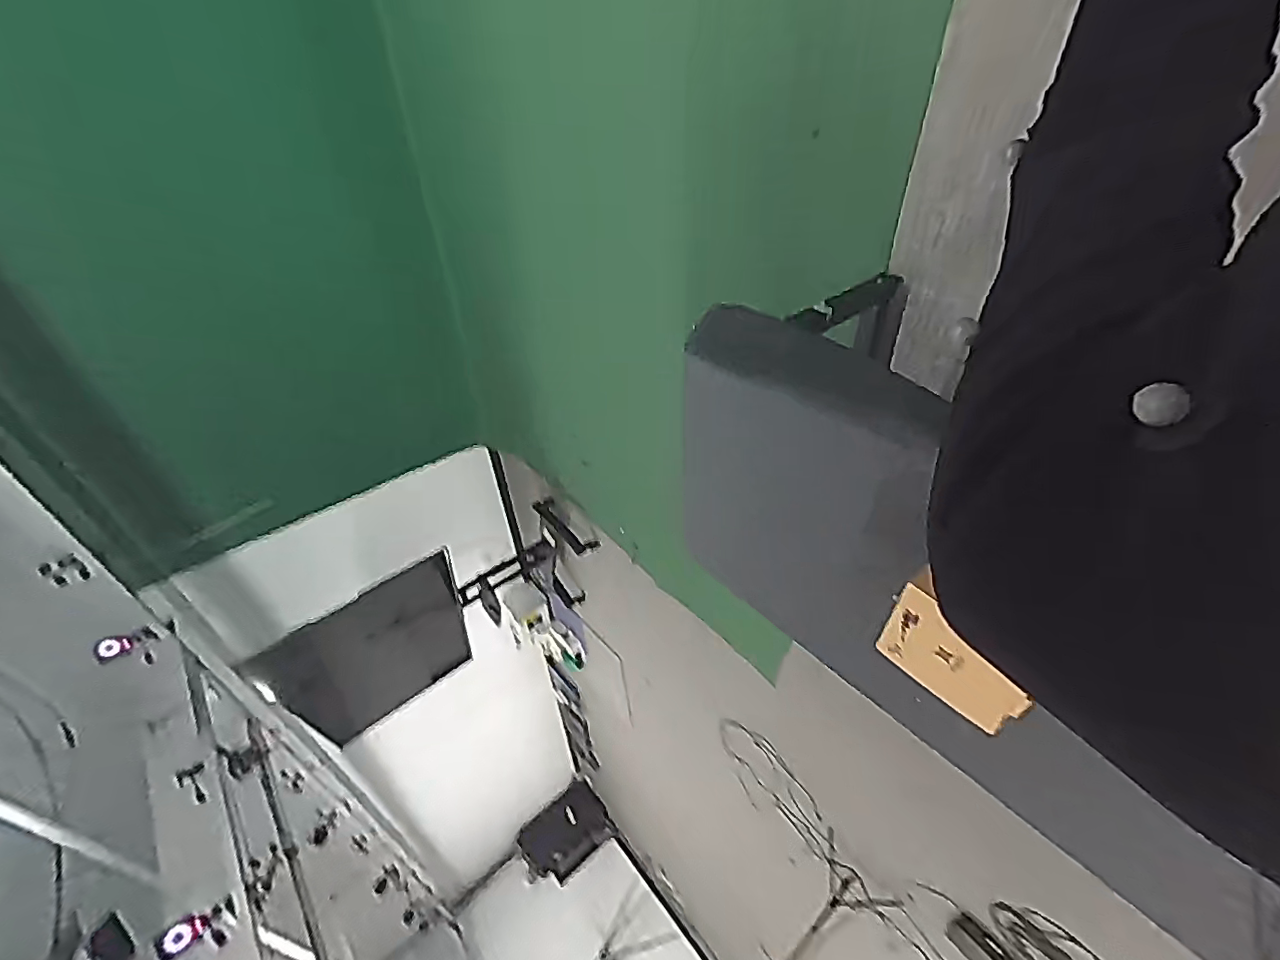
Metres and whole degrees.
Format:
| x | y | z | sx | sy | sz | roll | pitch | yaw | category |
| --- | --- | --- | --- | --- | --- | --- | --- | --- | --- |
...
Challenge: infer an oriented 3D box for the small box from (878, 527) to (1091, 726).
| x | y | z | sx | sy | sz | roll | pitch | yaw | category |
| --- | --- | --- | --- | --- | --- | --- | --- | --- | --- |
| 0.479 | 0.197 | 0.763 | 0.179 | 0.176 | 0.168 | 38 | 146 | 36 | small box |
